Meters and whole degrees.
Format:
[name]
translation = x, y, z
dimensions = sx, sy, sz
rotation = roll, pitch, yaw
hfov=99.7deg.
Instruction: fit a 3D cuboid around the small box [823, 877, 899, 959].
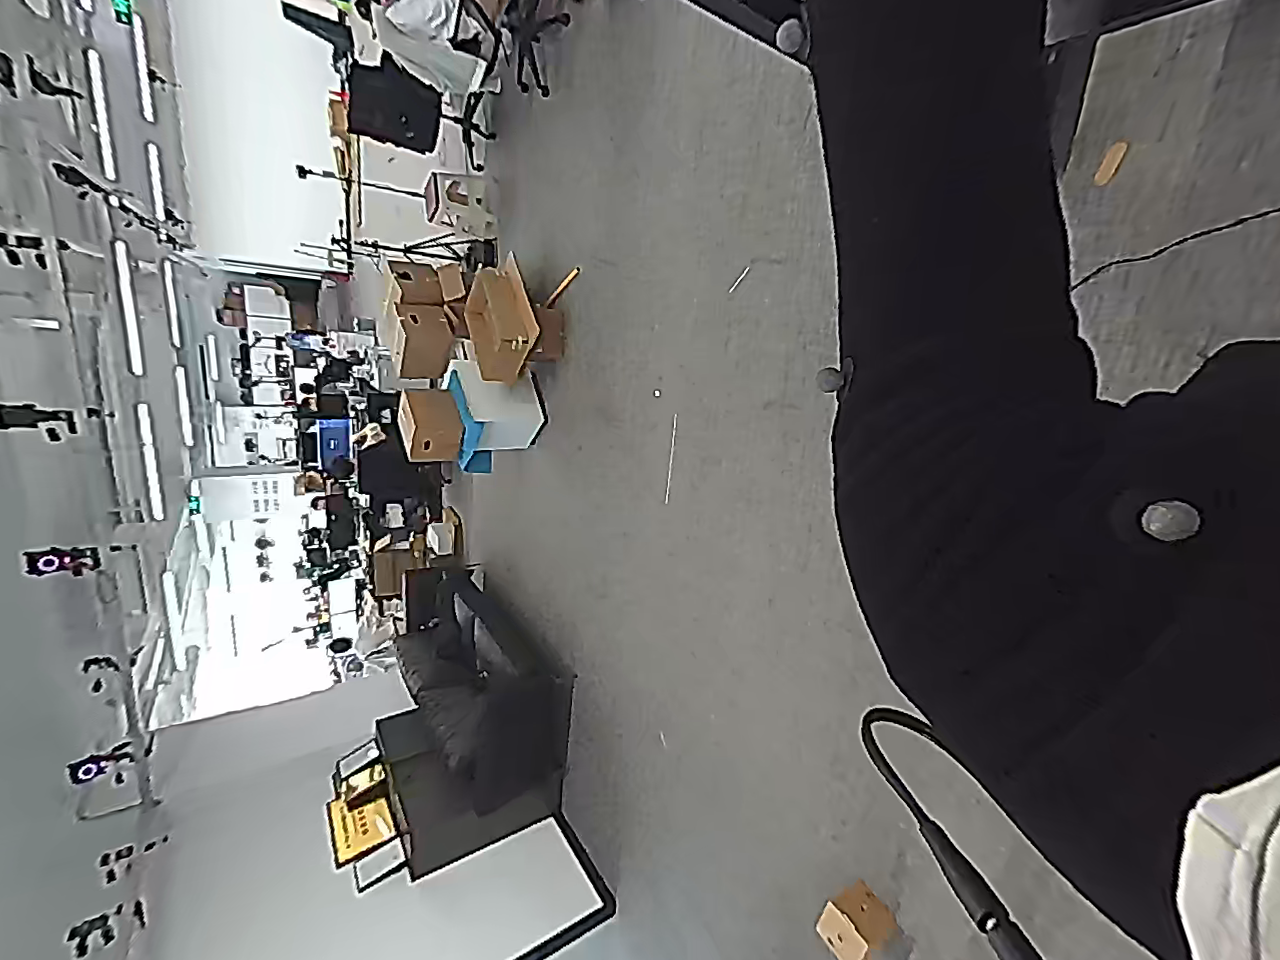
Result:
[small box]
translation = 0.793, 1.575, 1.930
dimensions = 0.168, 0.176, 0.179
rotation = 37, 123, 49
